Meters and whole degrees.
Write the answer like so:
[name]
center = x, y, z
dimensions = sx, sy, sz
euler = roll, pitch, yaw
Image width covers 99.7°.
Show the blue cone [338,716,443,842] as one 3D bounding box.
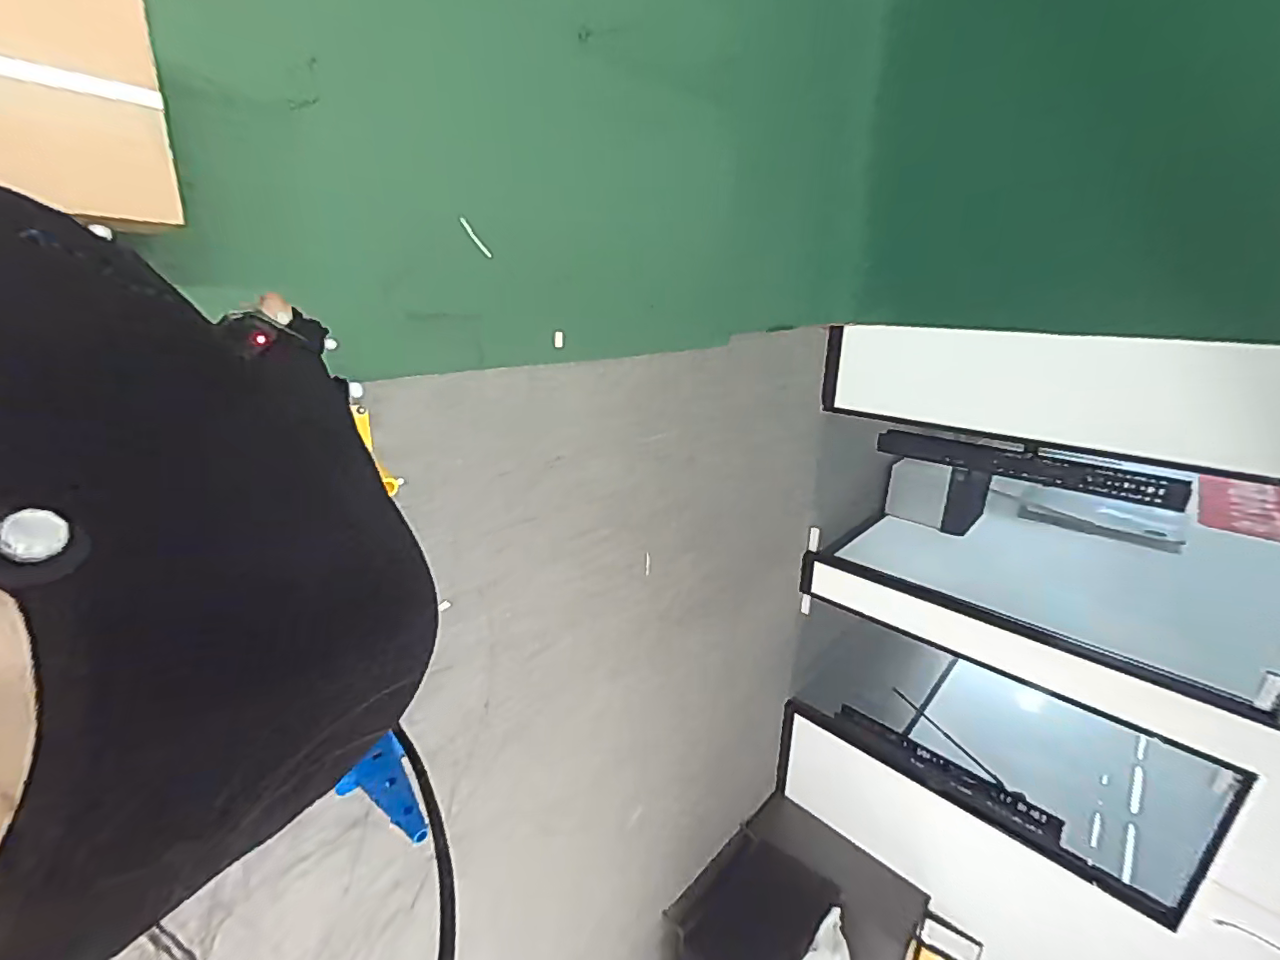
[blue cone]
center = -0.634, 0.824, 1.431
dimensions = 0.192, 0.380, 0.193
euler = -17, 116, -42
